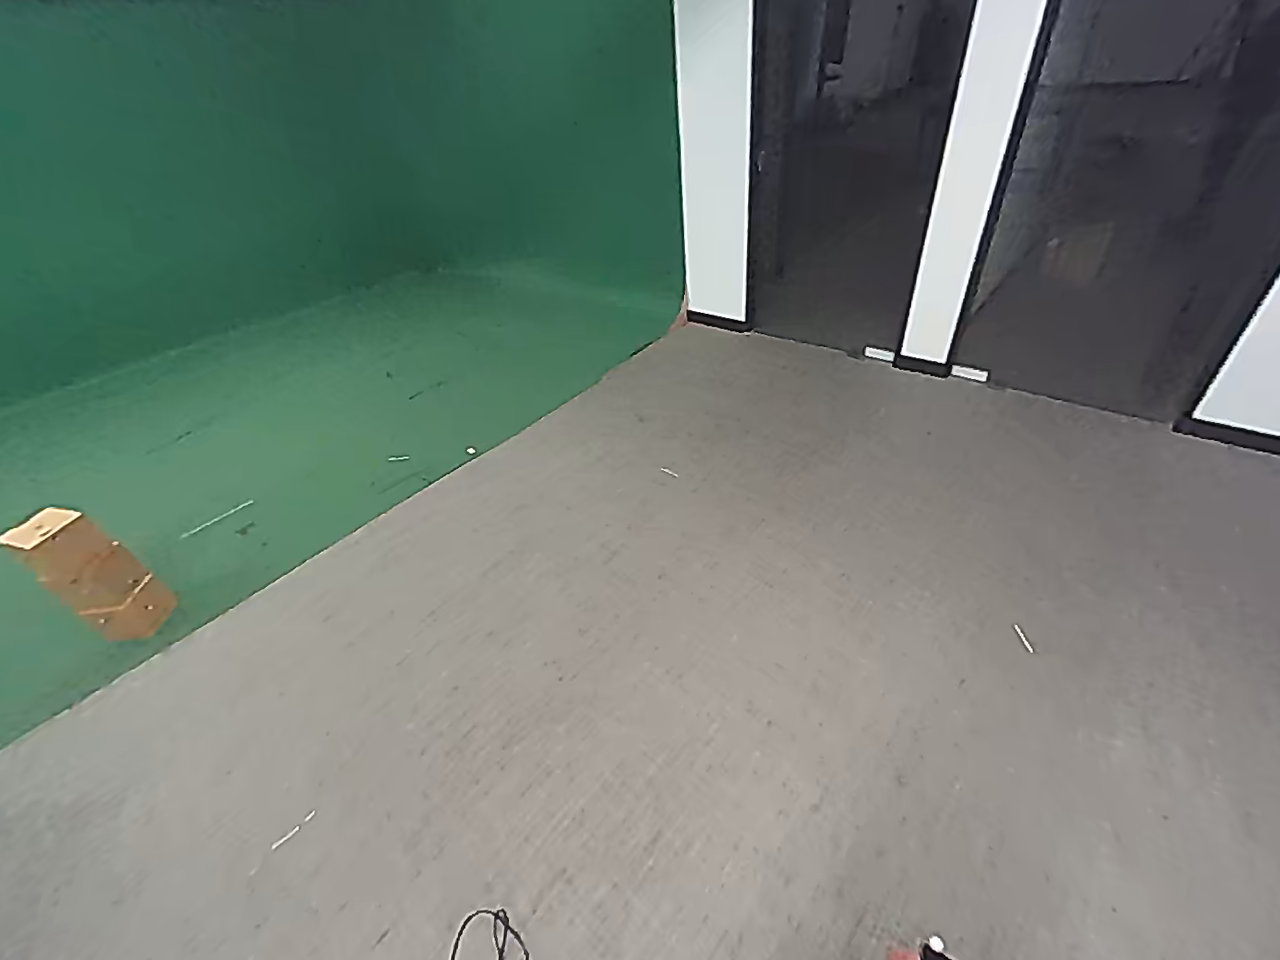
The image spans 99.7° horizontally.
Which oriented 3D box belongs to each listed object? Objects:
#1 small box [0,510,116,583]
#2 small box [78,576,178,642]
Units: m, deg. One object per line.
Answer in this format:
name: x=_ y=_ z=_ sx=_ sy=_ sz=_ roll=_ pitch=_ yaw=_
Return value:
small box: x=-1.931 y=0.222 z=1.799 sx=0.179 sy=0.176 sz=0.168 roll=6 pitch=41 yaw=15
small box: x=-1.880 y=0.478 z=2.000 sx=0.179 sy=0.176 sz=0.168 roll=-7 pitch=39 yaw=1
